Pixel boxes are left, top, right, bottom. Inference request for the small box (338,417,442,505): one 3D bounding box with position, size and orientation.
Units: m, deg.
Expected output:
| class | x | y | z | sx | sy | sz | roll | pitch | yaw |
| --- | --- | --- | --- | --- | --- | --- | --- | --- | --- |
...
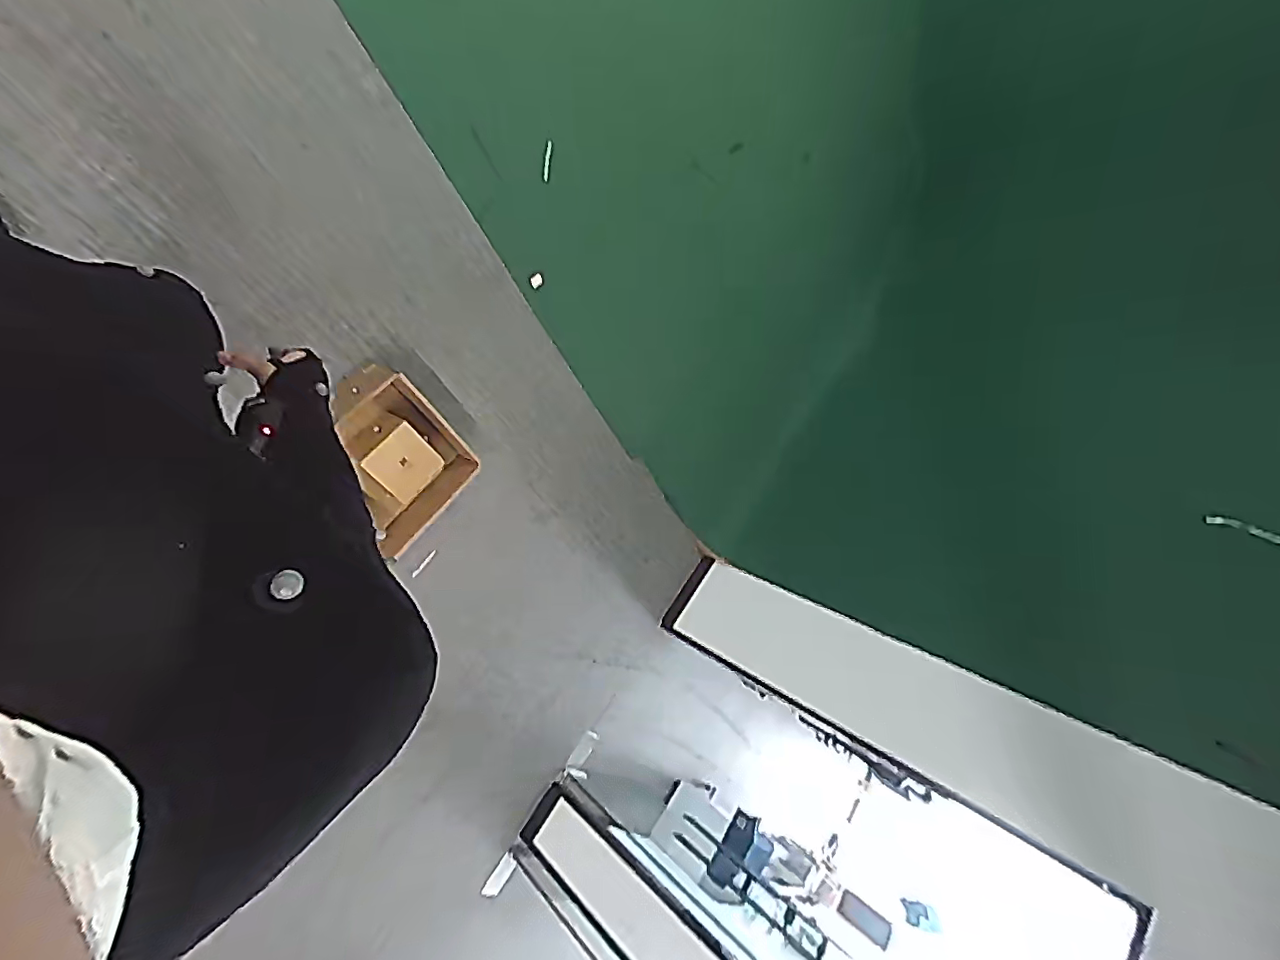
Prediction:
| class | x | y | z | sx | sy | sz | roll | pitch | yaw |
| --- | --- | --- | --- | --- | --- | --- | --- | --- | --- |
| small box | -0.705 | -0.061 | 1.523 | 0.168 | 0.176 | 0.179 | -51 | 137 | -20 |
